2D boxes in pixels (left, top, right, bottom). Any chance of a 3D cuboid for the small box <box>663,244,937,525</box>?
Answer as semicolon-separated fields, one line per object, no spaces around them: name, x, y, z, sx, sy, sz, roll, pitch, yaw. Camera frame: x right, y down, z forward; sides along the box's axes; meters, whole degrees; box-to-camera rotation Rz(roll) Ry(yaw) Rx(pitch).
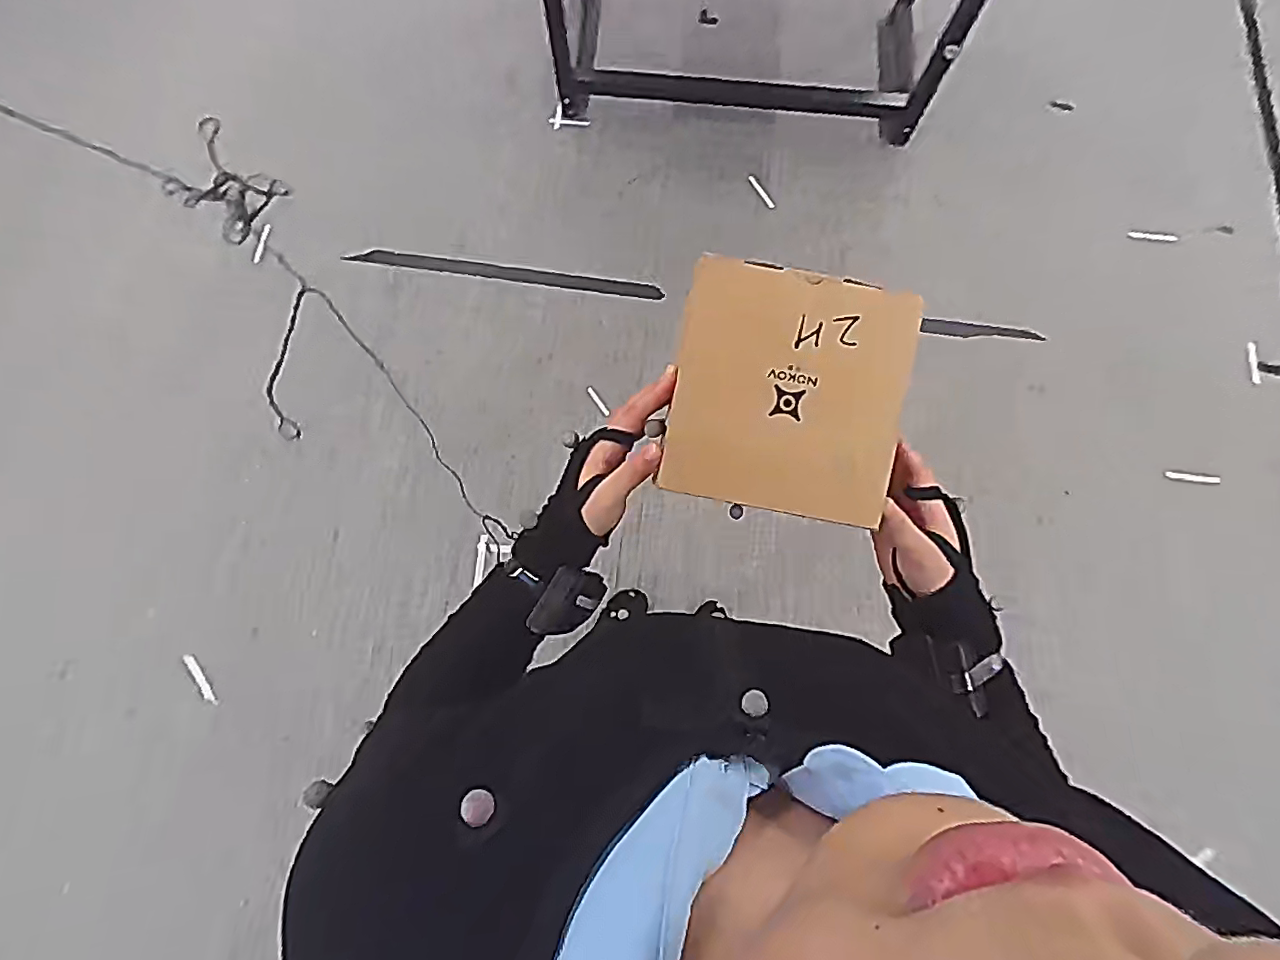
small box;0.114;-0.069;0.461;0.168;0.176;0.179;10;91;-1
